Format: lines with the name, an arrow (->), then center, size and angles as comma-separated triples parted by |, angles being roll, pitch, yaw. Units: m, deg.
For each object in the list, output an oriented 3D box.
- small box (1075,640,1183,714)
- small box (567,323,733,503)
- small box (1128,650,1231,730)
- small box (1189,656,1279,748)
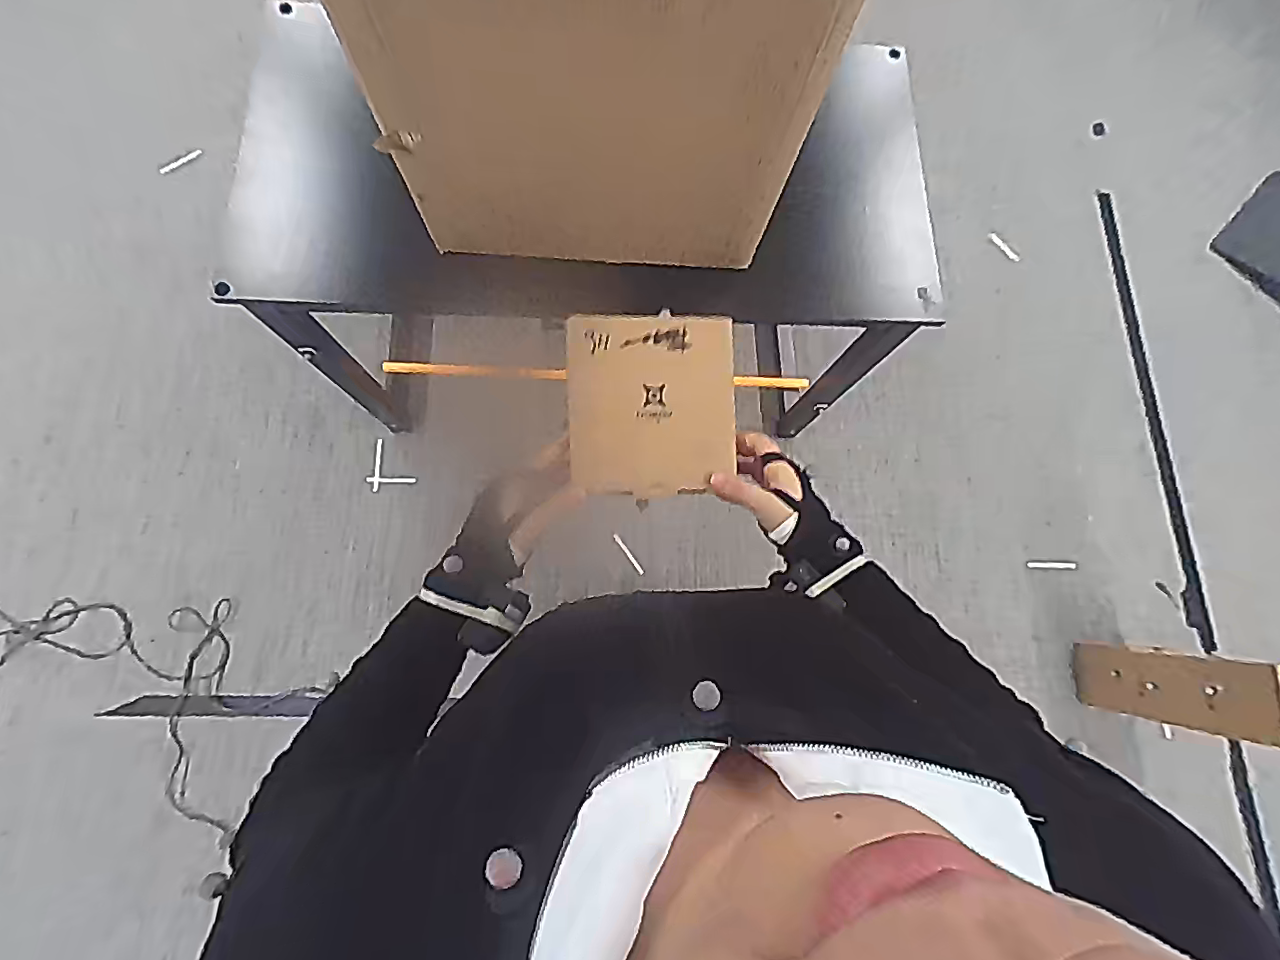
small box -> 1.339, 0.538, 1.480 | 0.168, 0.176, 0.179 | 5, 78, -3
small box -> 0.002, -0.065, 0.611 | 0.168, 0.176, 0.179 | -1, 88, -8
small box -> 1.356, 0.509, 1.319 | 0.179, 0.176, 0.168 | 4, 77, -3
small box -> 1.354, 0.474, 1.159 | 0.179, 0.176, 0.168 | 4, 77, -2
